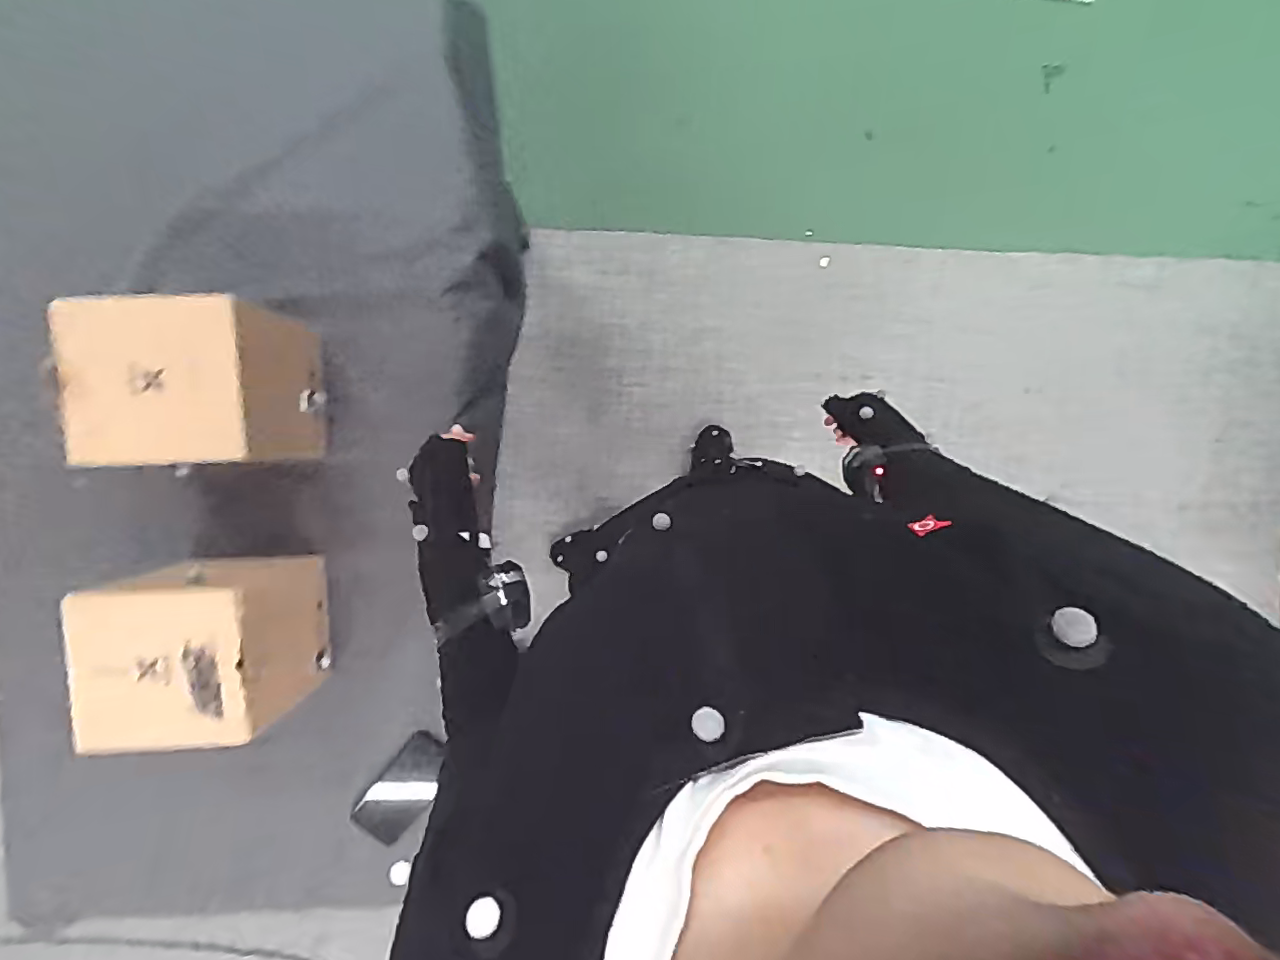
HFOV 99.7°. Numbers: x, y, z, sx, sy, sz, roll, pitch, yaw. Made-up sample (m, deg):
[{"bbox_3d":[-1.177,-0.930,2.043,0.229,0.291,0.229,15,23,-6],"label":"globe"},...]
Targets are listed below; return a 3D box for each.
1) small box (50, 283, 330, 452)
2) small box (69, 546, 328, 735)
[{"bbox_3d":[-0.492,-0.118,0.619,0.179,0.176,0.168,-3,96,-4],"label":"small box"},{"bbox_3d":[-0.496,0.176,0.640,0.179,0.176,0.168,-2,94,-2],"label":"small box"}]
